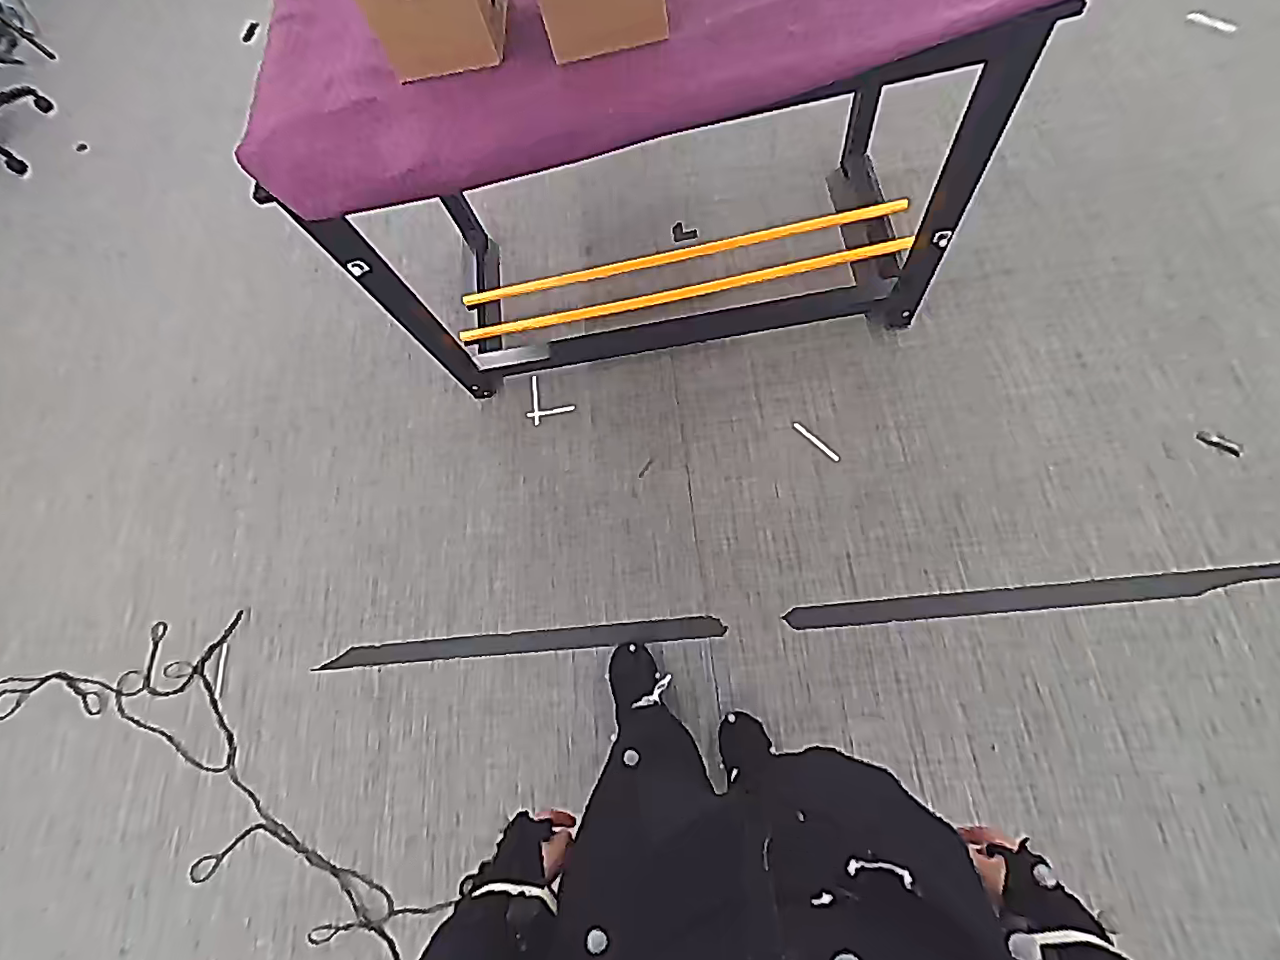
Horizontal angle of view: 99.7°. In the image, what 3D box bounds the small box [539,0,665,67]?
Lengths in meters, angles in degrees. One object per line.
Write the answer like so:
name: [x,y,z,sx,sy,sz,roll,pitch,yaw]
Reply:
small box: [-0.059,-0.745,0.776,0.179,0.176,0.168,-8,69,8]
